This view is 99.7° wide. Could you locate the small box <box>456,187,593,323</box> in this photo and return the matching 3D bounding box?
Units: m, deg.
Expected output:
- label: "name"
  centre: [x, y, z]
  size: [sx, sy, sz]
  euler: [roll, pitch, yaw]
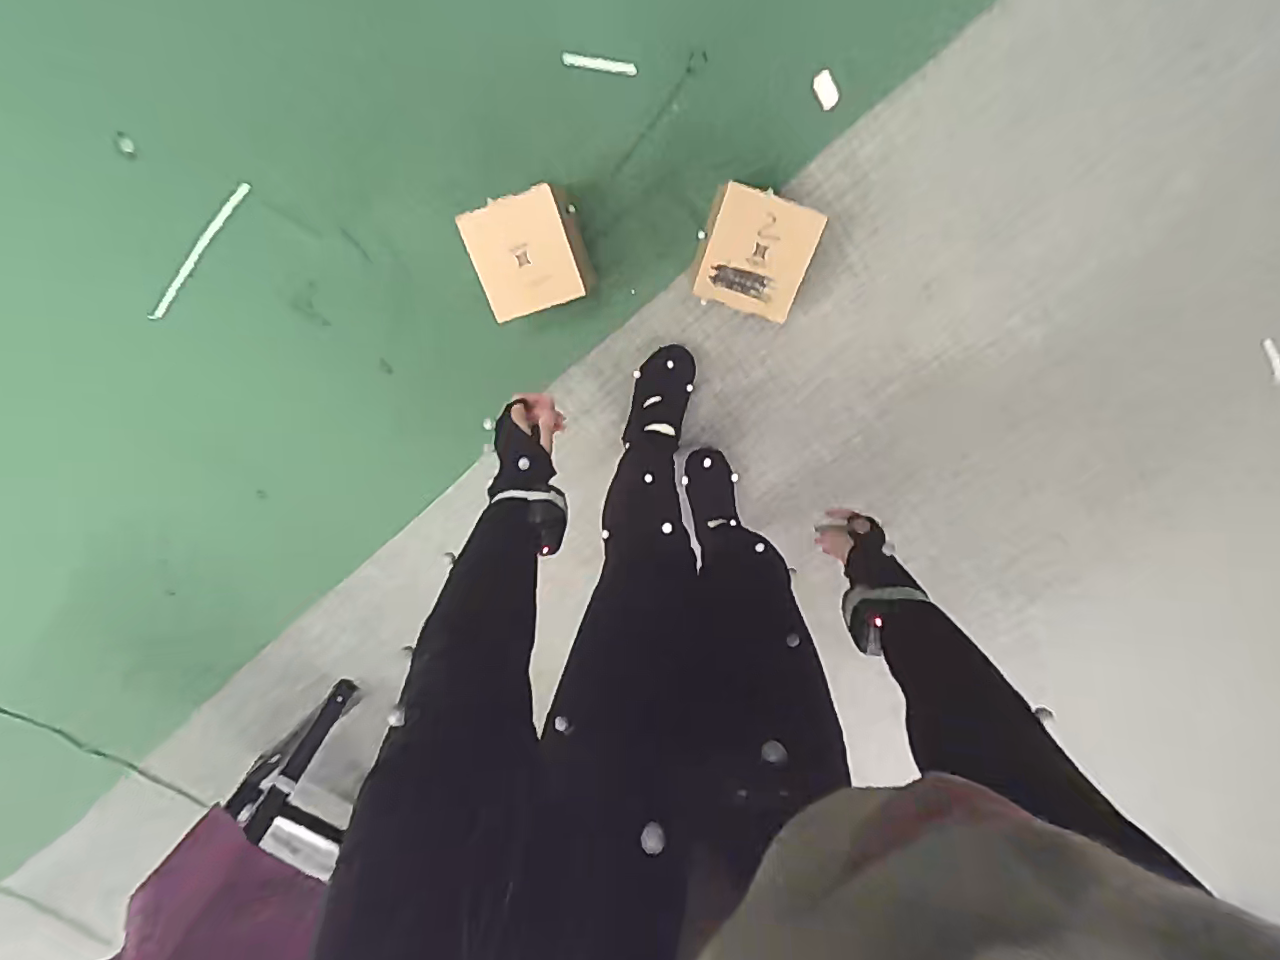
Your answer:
- label: "small box"
  centre: [-0.193, -0.397, 0.960]
  size: [0.168, 0.176, 0.179]
  euler: [-14, 115, 10]
